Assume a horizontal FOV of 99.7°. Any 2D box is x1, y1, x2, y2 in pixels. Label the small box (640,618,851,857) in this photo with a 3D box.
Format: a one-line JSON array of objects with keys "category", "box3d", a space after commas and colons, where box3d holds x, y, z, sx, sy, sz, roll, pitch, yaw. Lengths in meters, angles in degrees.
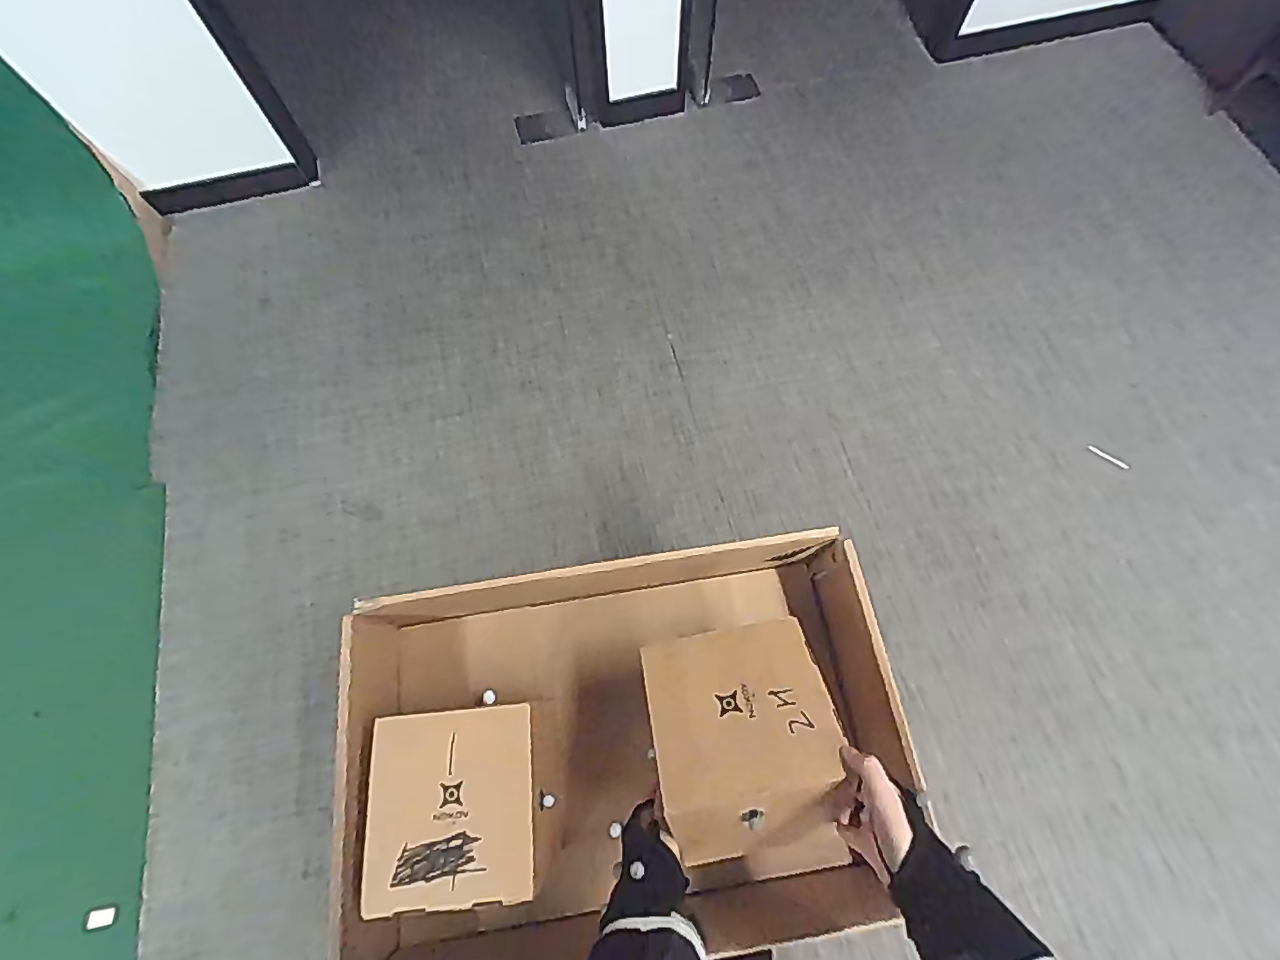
[{"category": "small box", "box3d": [0.107, 0.279, 0.583, 0.179, 0.176, 0.168, -12, 42, 1]}]
